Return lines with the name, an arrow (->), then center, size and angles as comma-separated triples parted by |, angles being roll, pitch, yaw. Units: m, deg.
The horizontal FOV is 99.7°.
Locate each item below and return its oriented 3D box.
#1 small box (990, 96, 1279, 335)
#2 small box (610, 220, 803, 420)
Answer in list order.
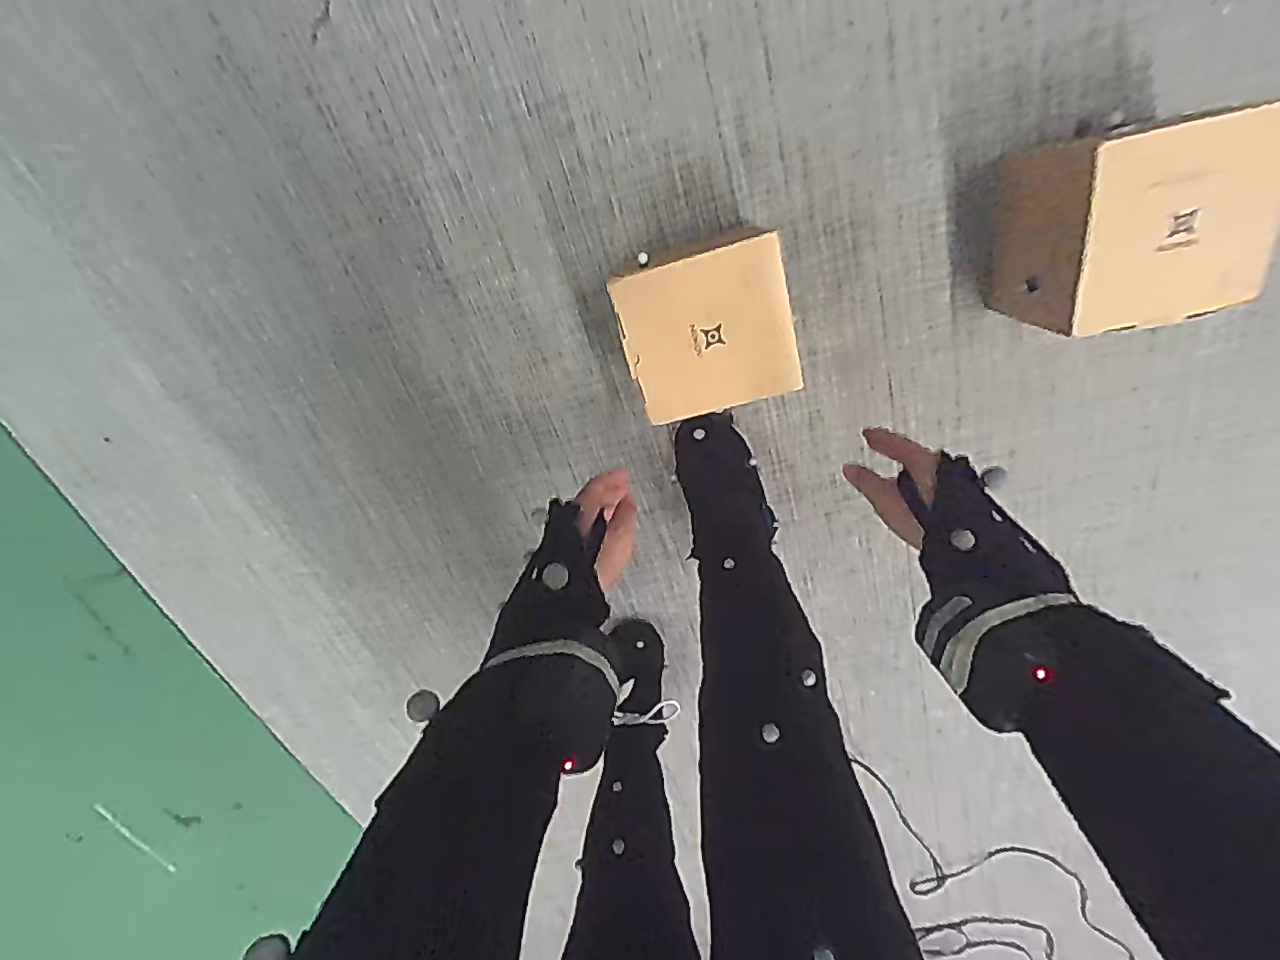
small box -> 0.495, -0.270, 0.563 | 0.168, 0.176, 0.179 | -10, 116, 8
small box -> 0.077, -0.193, 0.633 | 0.179, 0.176, 0.168 | -13, 116, 11
